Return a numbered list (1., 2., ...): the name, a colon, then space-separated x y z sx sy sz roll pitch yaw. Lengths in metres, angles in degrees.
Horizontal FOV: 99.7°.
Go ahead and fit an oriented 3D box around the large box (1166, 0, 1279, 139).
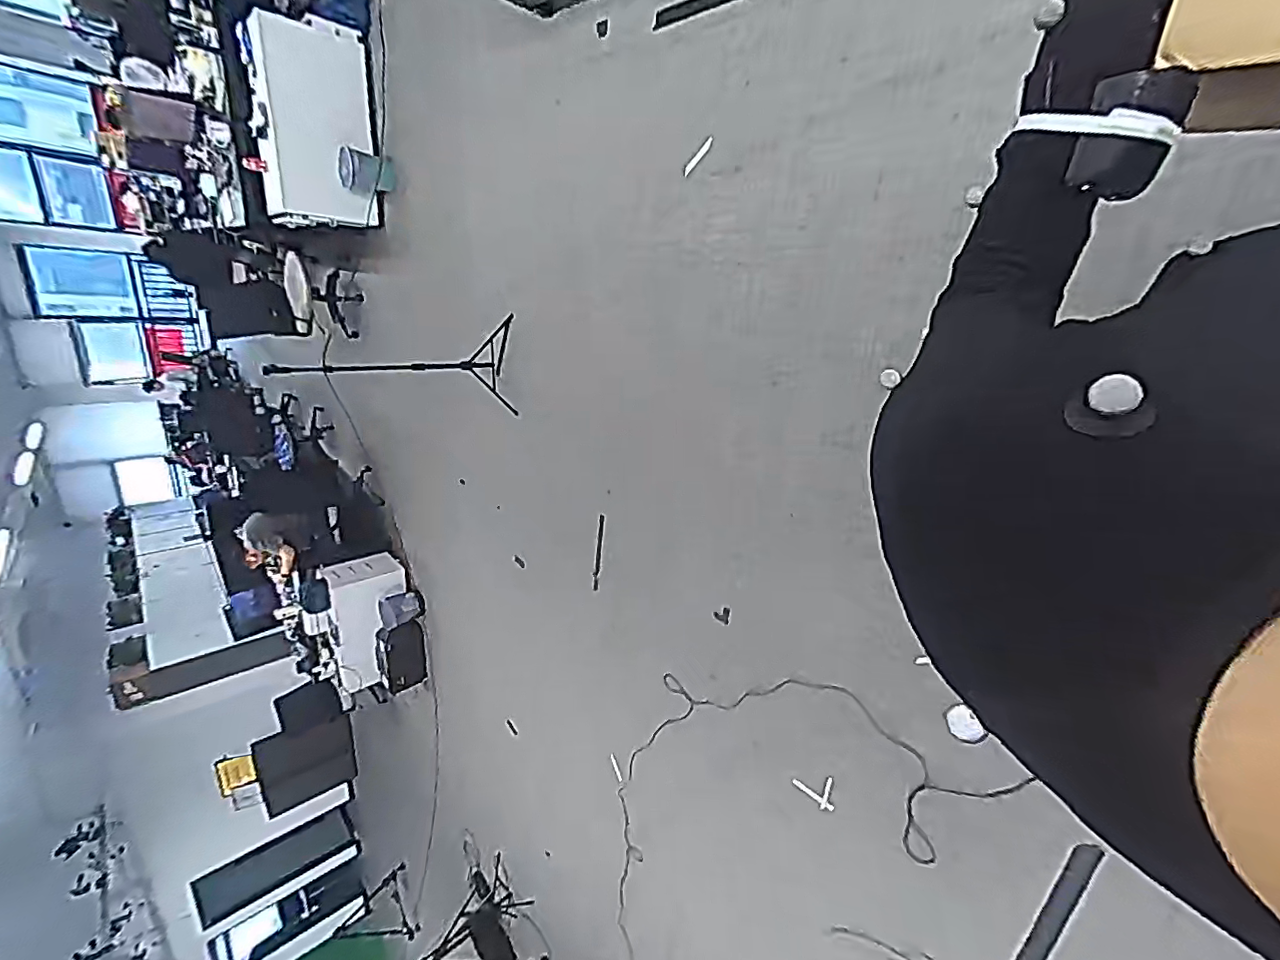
1. large box: 0.576 -0.383 0.263 0.408 0.320 0.320 22 123 37
